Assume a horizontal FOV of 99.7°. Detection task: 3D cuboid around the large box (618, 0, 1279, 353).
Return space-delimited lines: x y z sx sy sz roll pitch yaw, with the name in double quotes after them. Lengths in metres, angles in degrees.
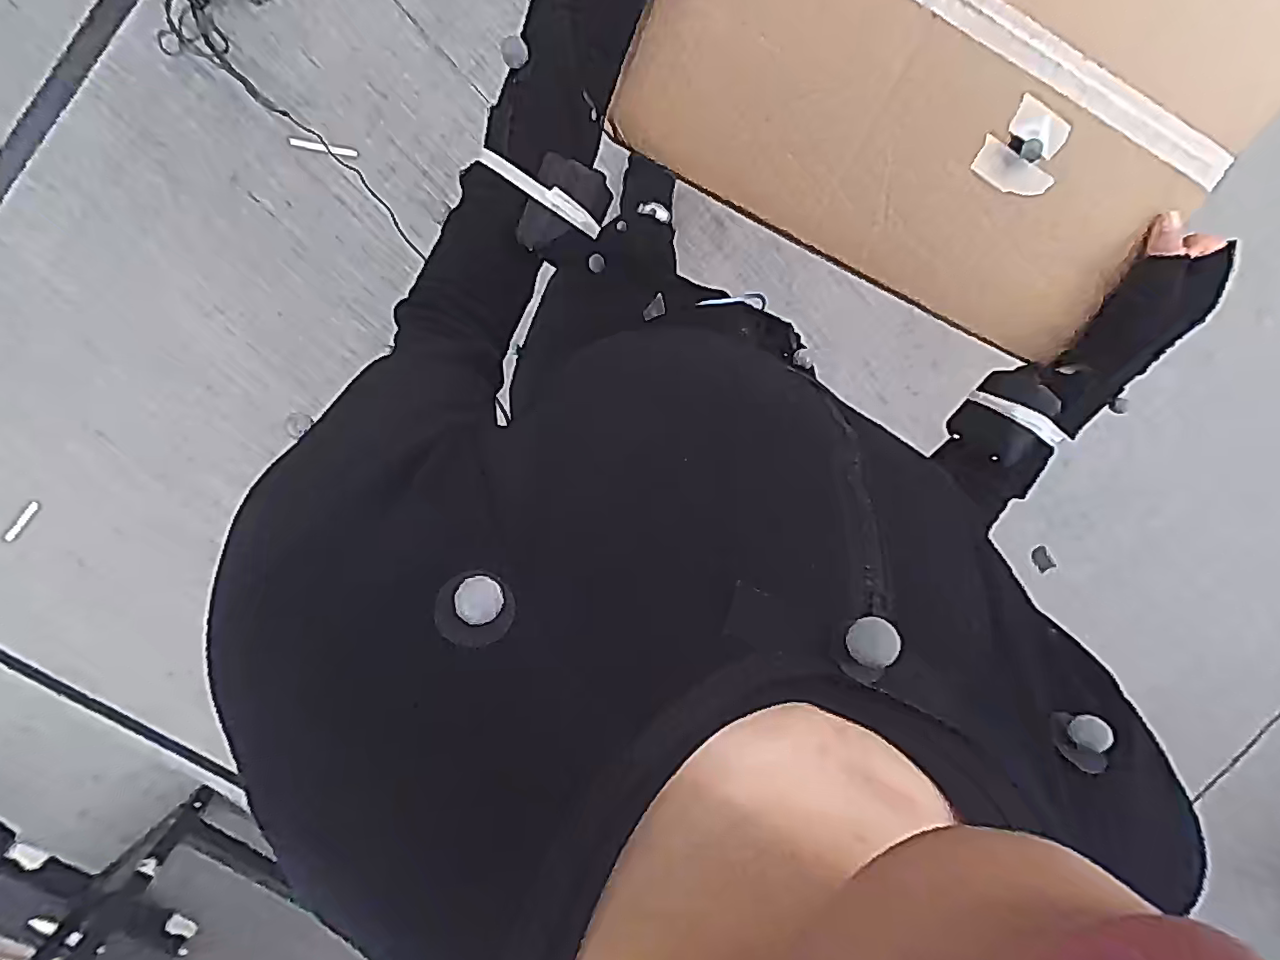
0.222 -0.370 0.483 0.408 0.320 0.320 22 119 -12 "large box"
